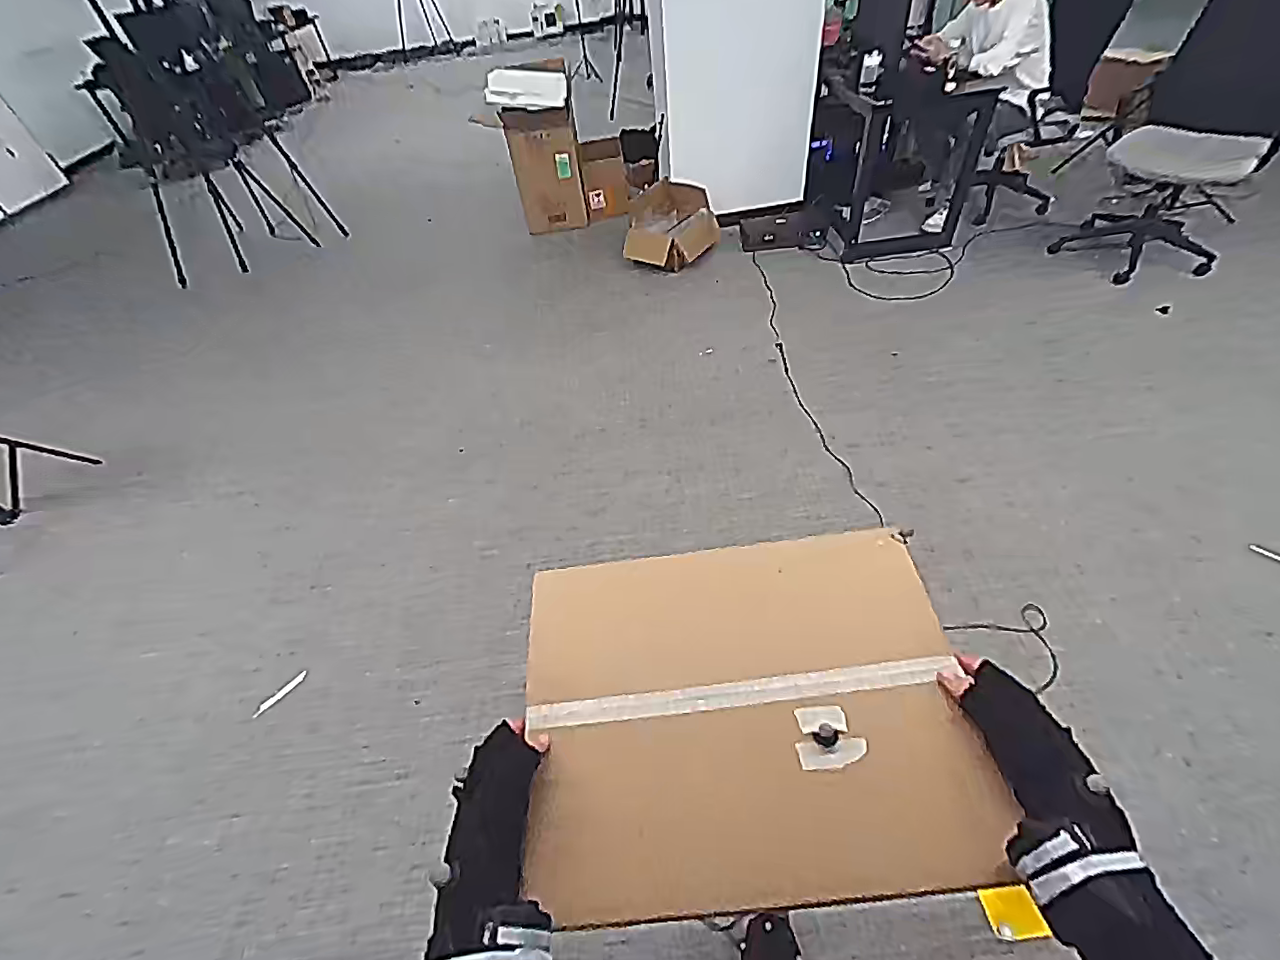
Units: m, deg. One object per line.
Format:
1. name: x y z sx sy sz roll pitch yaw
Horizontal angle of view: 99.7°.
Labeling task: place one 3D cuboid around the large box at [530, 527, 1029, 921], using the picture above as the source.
1. large box: 0.108 0.290 0.629 0.408 0.320 0.320 -8 52 2
